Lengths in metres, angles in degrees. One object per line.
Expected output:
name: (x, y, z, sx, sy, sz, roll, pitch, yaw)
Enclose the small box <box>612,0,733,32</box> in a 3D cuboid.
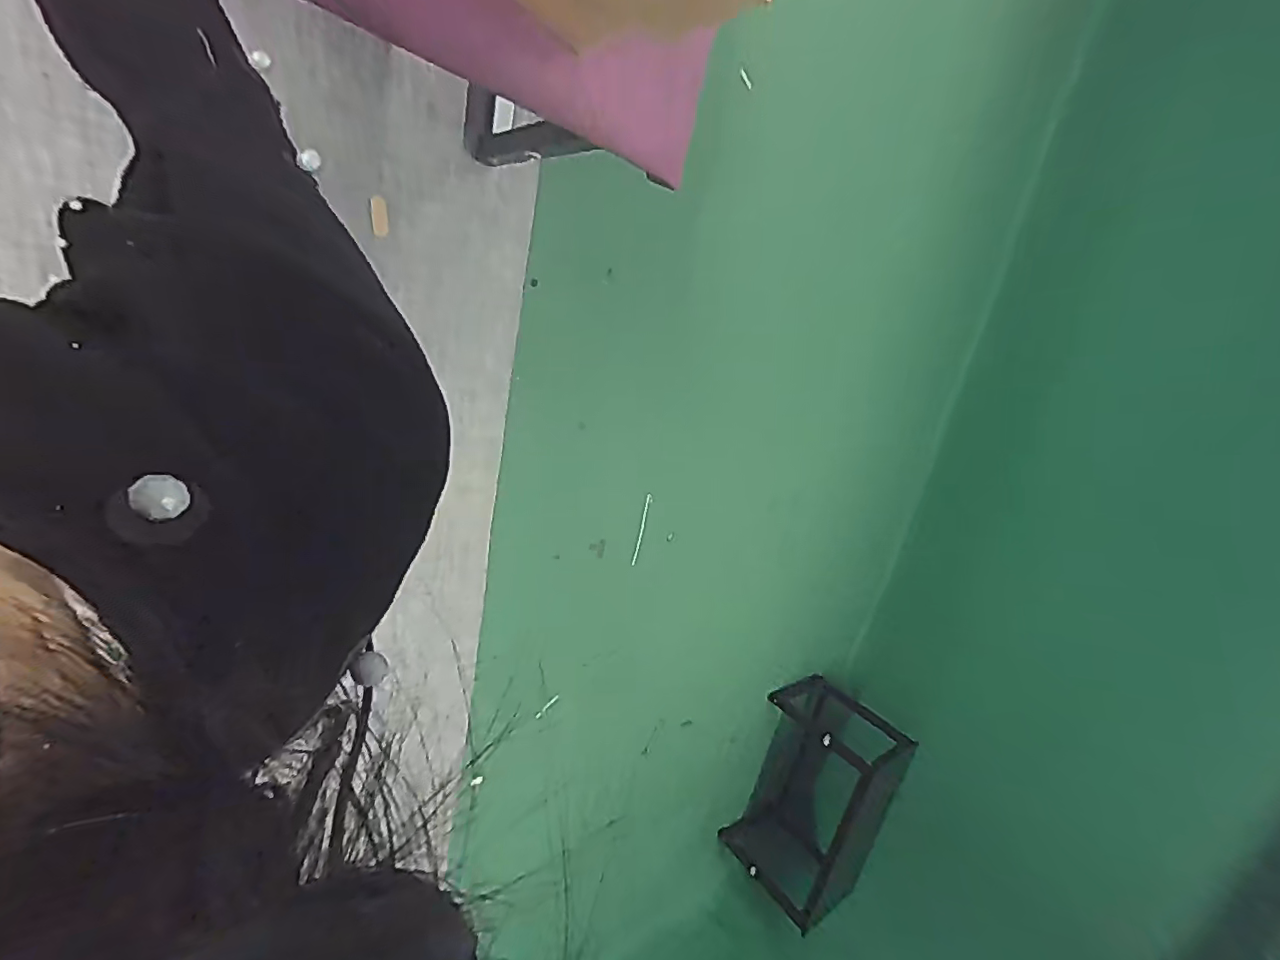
small box: (0.029, -0.554, 0.486, 0.179, 0.176, 0.168, 4, 108, -41)
